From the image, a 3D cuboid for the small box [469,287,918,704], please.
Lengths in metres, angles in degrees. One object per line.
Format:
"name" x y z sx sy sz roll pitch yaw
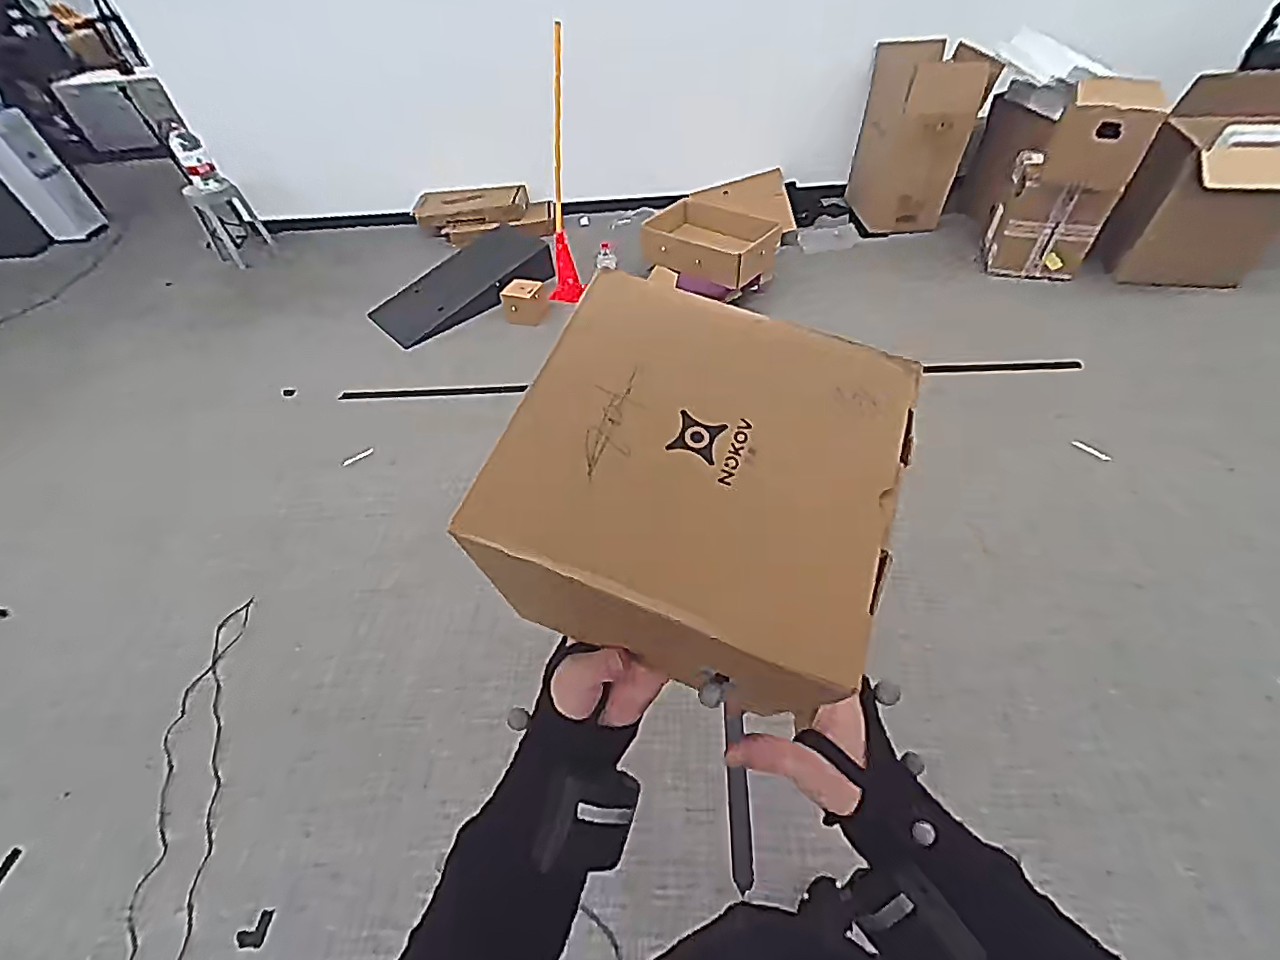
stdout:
"small box" 0.032 0.023 0.328 0.179 0.176 0.168 20 64 9
